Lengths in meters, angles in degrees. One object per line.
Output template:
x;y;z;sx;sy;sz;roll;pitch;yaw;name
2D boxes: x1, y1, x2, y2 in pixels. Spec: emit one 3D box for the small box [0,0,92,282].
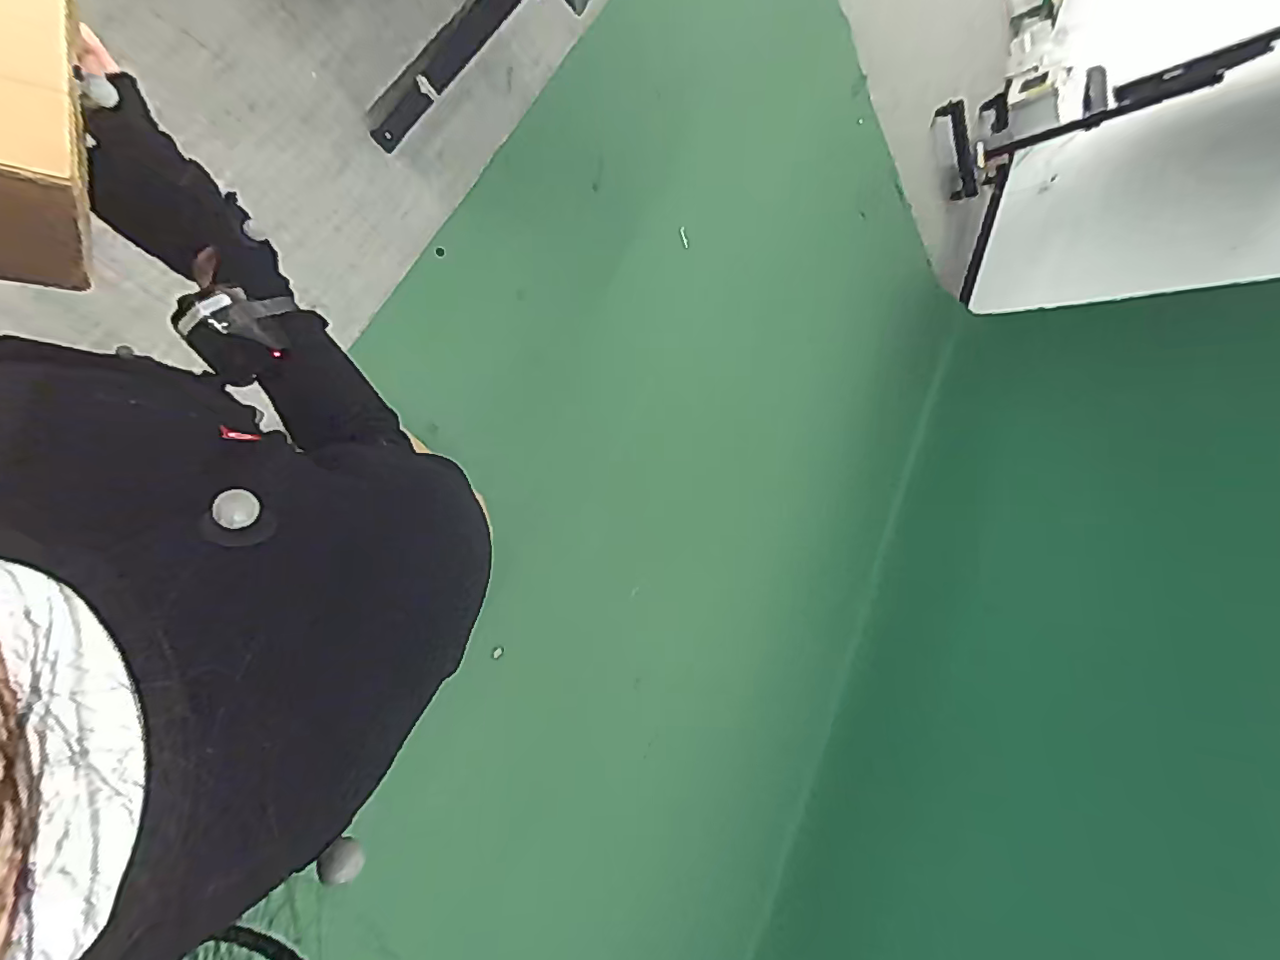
-0.408;-0.230;0.283;0.168;0.176;0.179;-4;88;-45;small box
